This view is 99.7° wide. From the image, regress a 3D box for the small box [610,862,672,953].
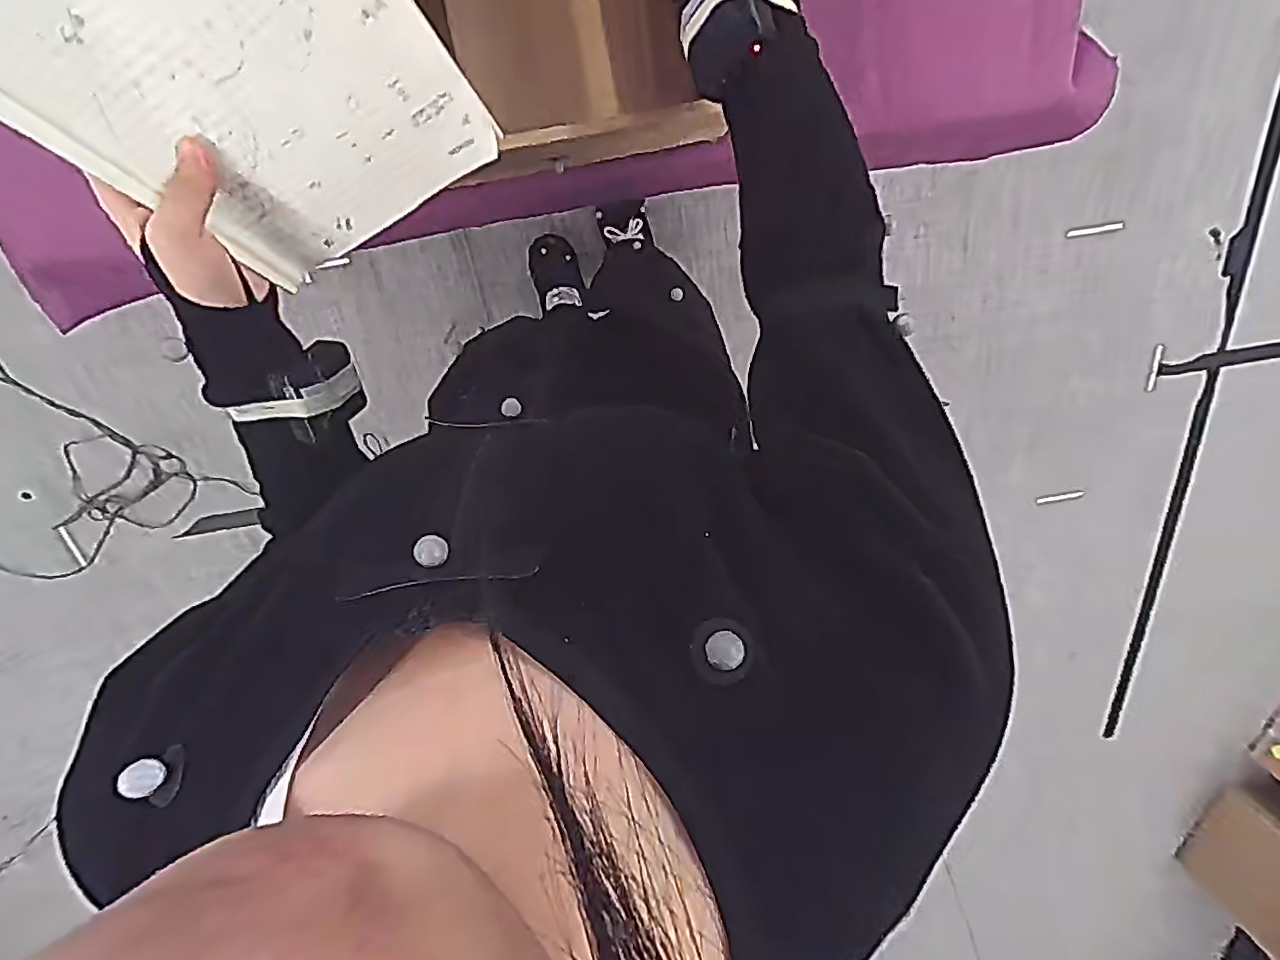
[{"bbox_3d":[0.001,1.379,1.758,0.168,0.176,0.179,-13,115,0],"label":"small box"}]
